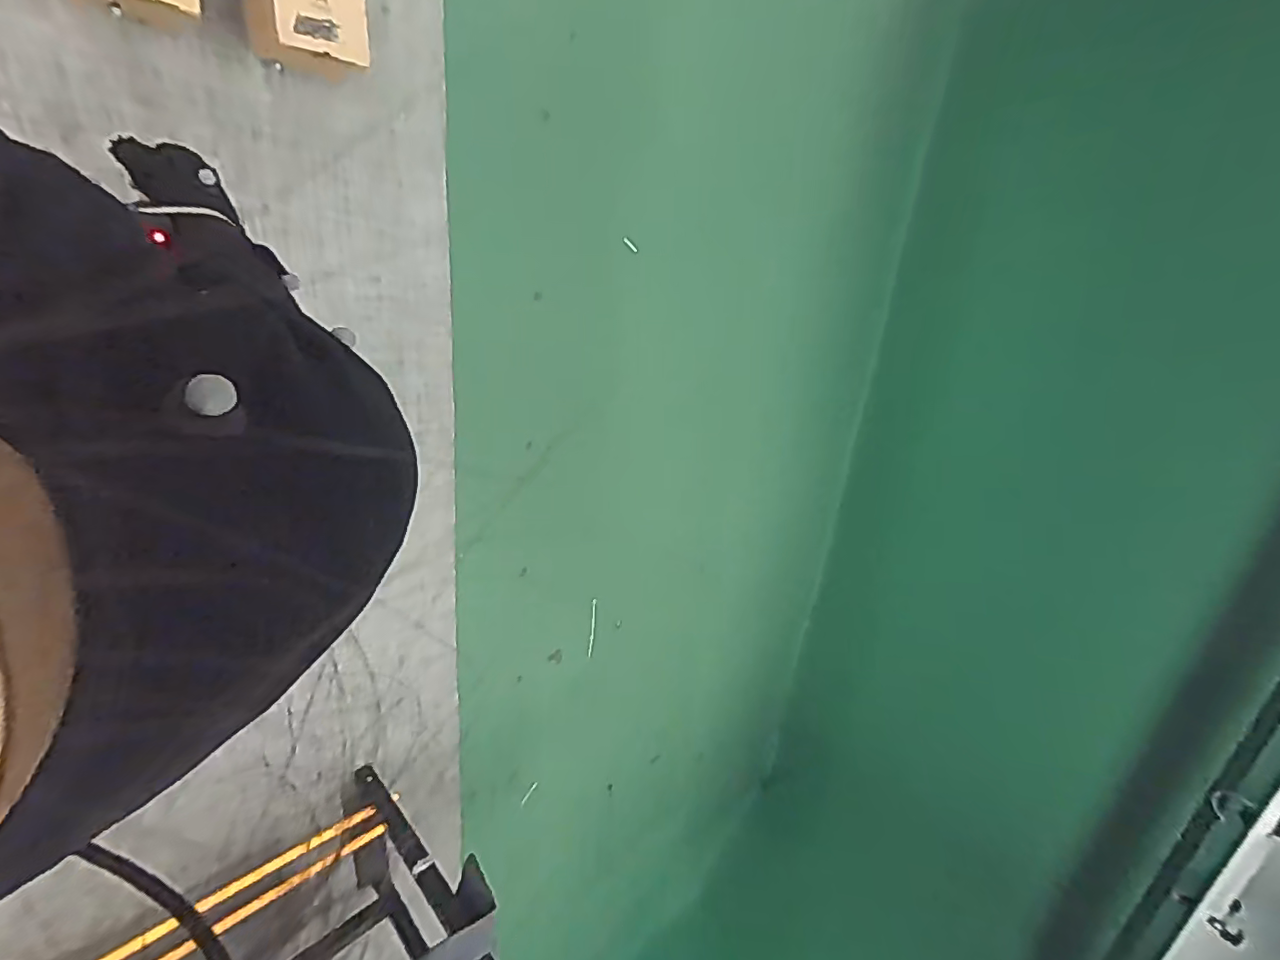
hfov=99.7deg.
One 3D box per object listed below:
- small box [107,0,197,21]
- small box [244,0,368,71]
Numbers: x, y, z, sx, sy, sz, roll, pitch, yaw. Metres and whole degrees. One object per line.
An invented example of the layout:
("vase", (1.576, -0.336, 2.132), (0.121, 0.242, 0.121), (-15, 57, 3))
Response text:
("small box", (-0.837, -0.882, 0.860), (0.168, 0.176, 0.179), (-13, 118, -46))
("small box", (-0.651, -0.929, 1.049), (0.168, 0.176, 0.179), (-16, 120, -44))
